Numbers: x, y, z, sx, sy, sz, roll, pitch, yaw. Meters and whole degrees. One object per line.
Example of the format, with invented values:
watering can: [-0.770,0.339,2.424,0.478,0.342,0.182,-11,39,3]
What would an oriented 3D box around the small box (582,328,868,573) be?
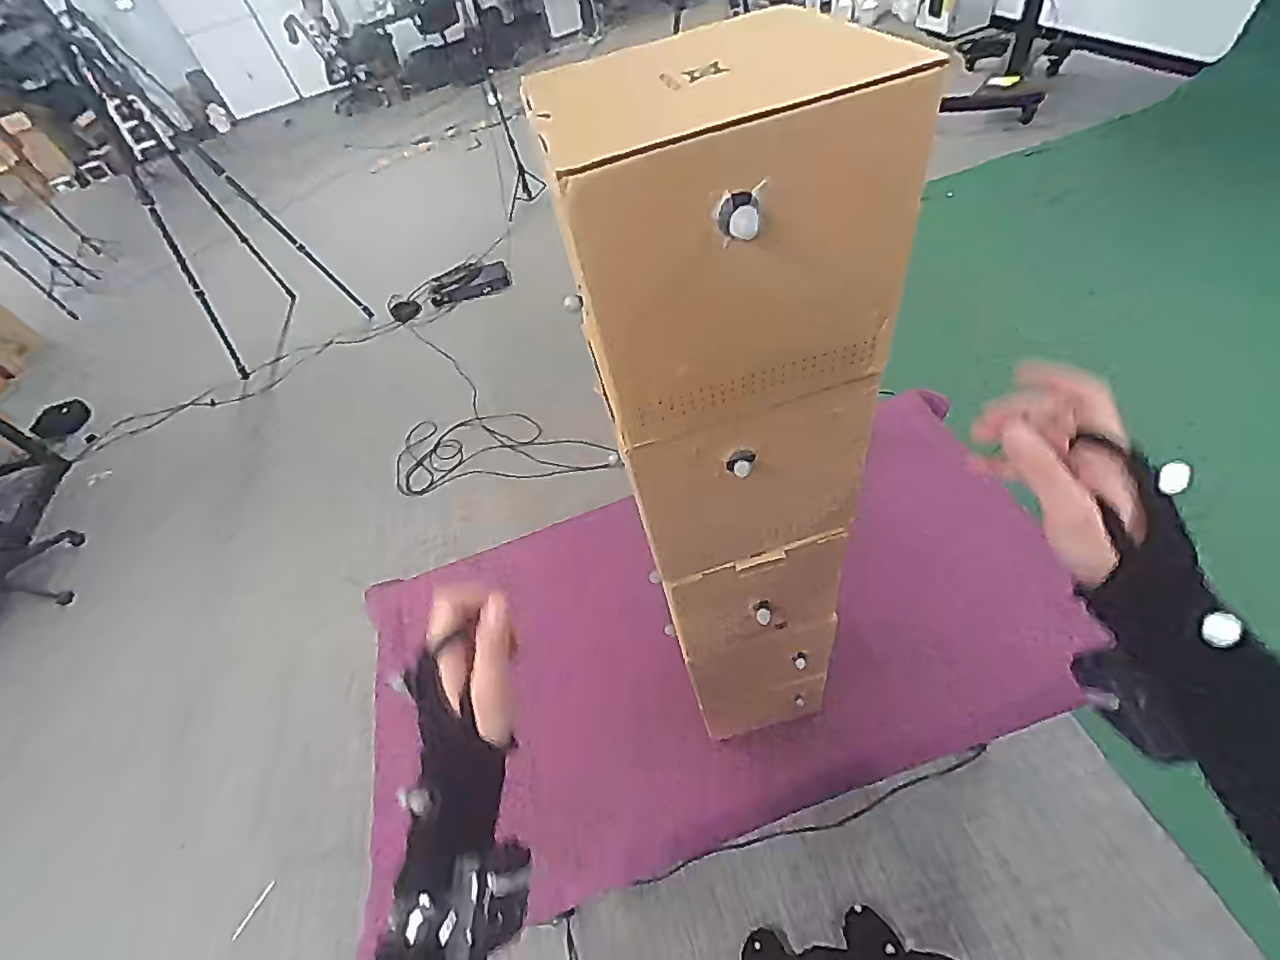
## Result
small box: [0.066,-0.045,0.461,0.179,0.176,0.168,-17,48,-2]

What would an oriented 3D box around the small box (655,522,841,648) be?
small box: [0.097,0.062,0.581,0.168,0.176,0.179,-16,48,0]

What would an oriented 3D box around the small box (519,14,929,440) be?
small box: [0.040,-0.153,0.342,0.179,0.176,0.168,-18,48,0]

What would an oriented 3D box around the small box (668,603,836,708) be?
small box: [0.130,0.171,0.699,0.179,0.176,0.168,-16,48,1]
